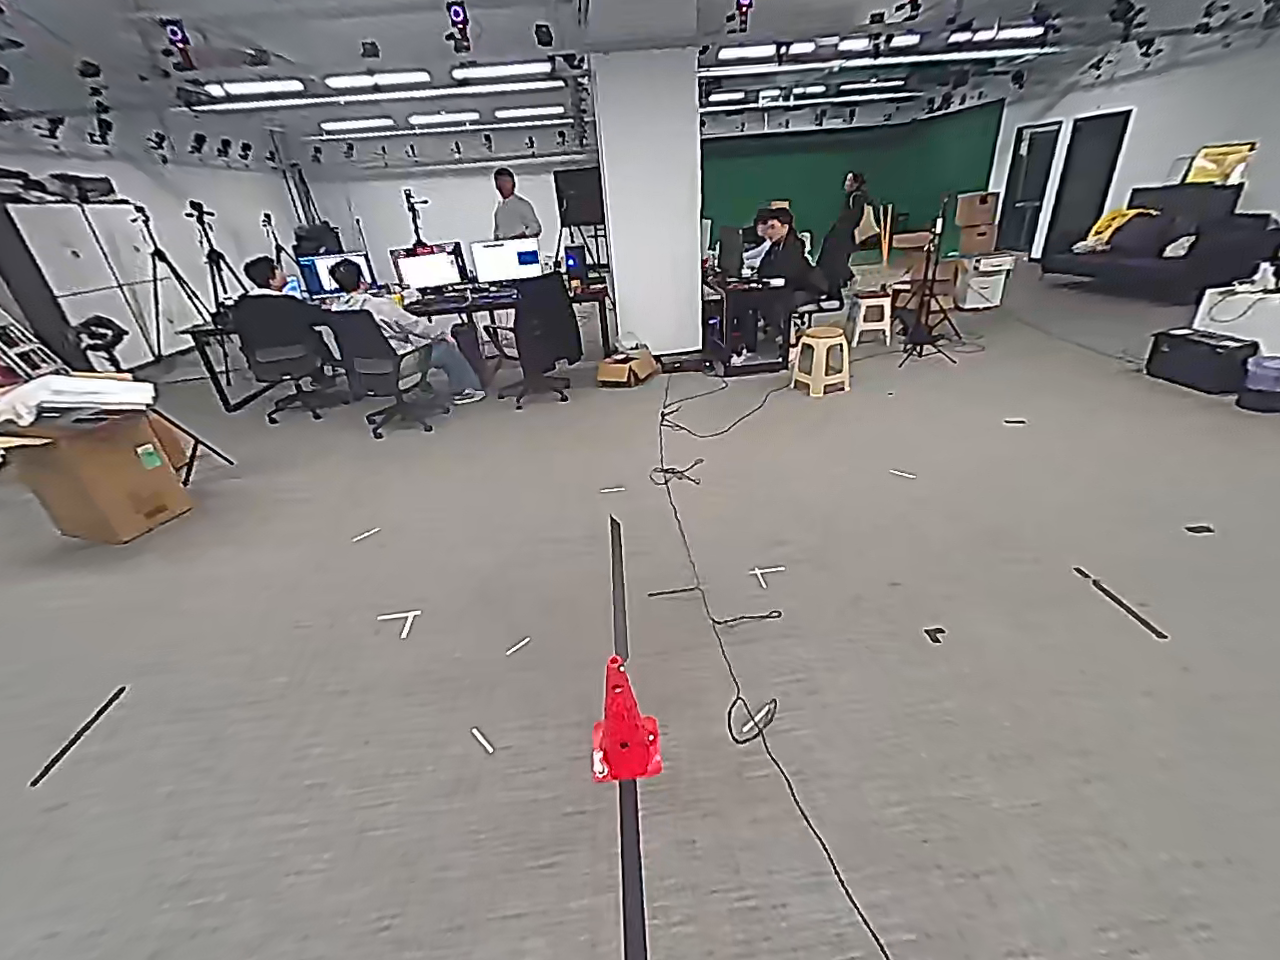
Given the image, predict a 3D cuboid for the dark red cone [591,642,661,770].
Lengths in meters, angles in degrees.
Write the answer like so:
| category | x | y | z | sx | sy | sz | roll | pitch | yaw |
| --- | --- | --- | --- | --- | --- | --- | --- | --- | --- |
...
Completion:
| category | x | y | z | sx | sy | sz | roll | pitch | yaw |
| --- | --- | --- | --- | --- | --- | --- | --- | --- | --- |
| dark red cone | -0.055 | 0.623 | 1.533 | 0.201 | 0.394 | 0.202 | -5 | 27 | -3 |
